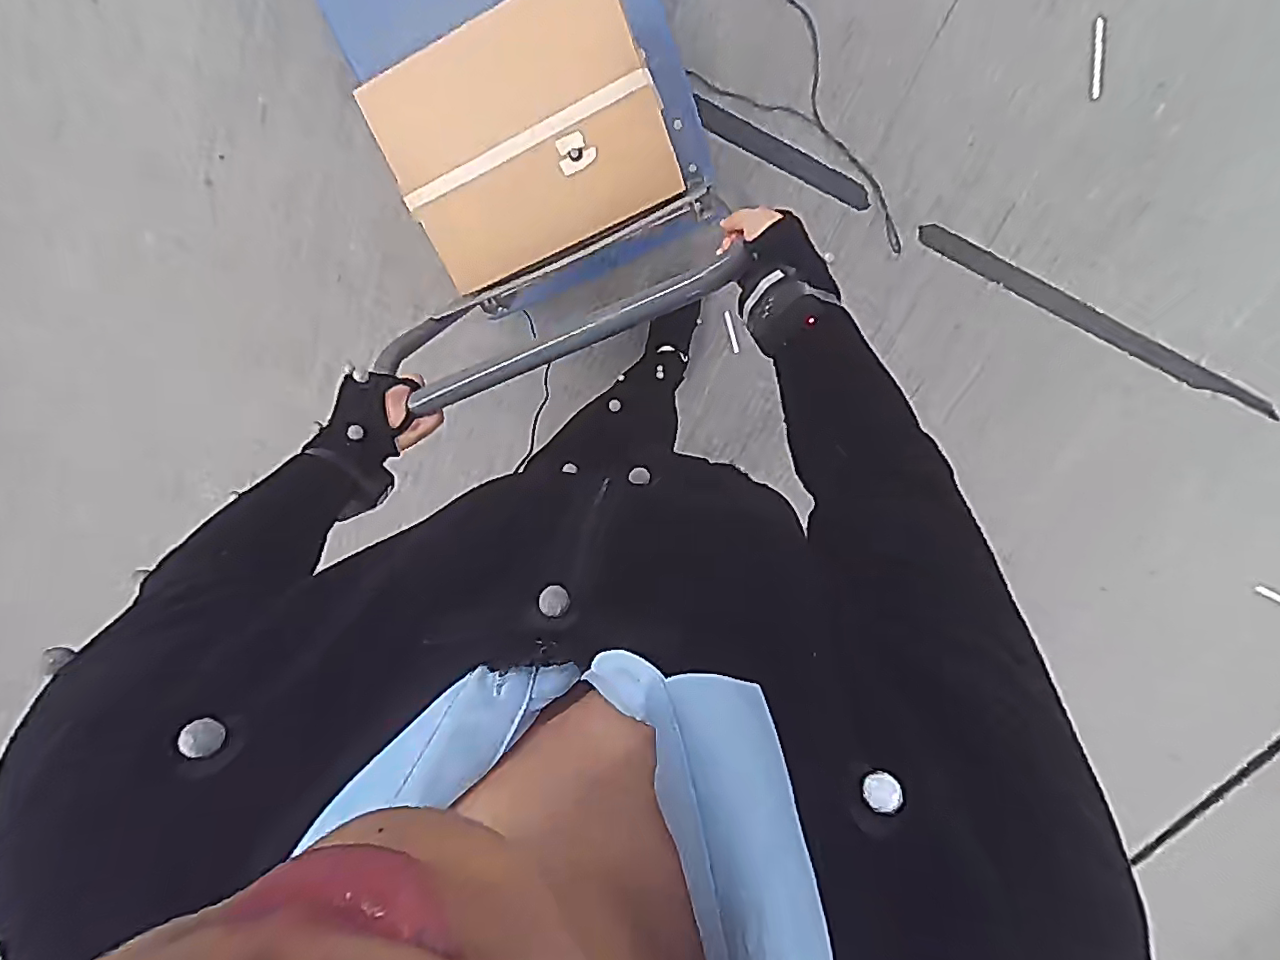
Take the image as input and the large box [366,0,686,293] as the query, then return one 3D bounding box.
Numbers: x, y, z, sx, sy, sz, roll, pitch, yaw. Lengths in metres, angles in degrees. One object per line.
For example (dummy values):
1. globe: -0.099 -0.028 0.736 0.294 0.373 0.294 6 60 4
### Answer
1. large box: -0.165 -0.570 0.949 0.408 0.320 0.320 -21 113 11
